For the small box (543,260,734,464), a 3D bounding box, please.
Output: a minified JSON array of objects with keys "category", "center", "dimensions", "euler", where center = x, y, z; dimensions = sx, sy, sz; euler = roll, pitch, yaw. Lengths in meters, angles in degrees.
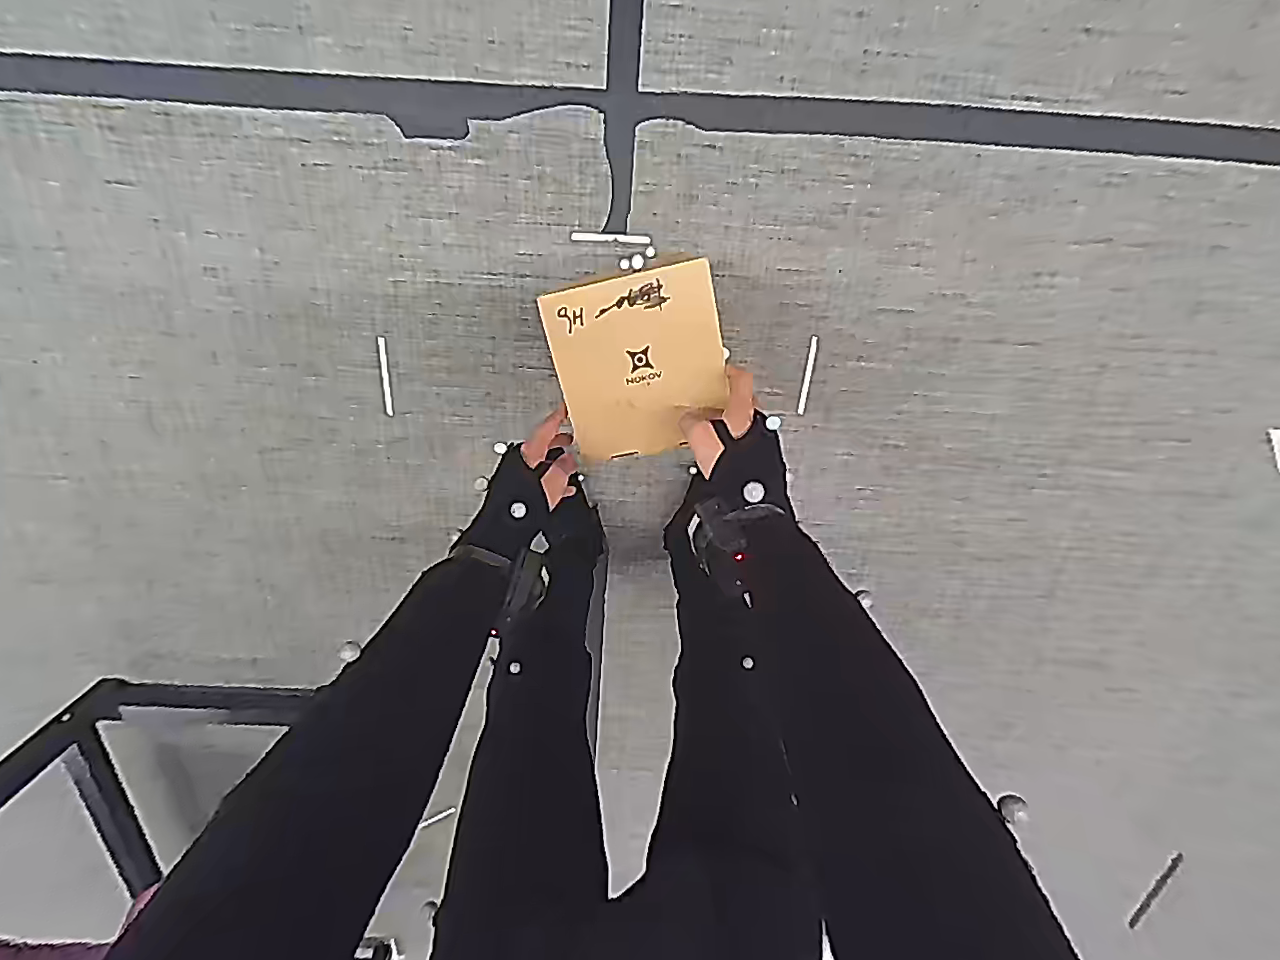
[{"category":"small box","center":[0.004,-0.140,0.612],"dimensions":[0.168,0.176,0.179],"euler":[-11,113,5]}]
